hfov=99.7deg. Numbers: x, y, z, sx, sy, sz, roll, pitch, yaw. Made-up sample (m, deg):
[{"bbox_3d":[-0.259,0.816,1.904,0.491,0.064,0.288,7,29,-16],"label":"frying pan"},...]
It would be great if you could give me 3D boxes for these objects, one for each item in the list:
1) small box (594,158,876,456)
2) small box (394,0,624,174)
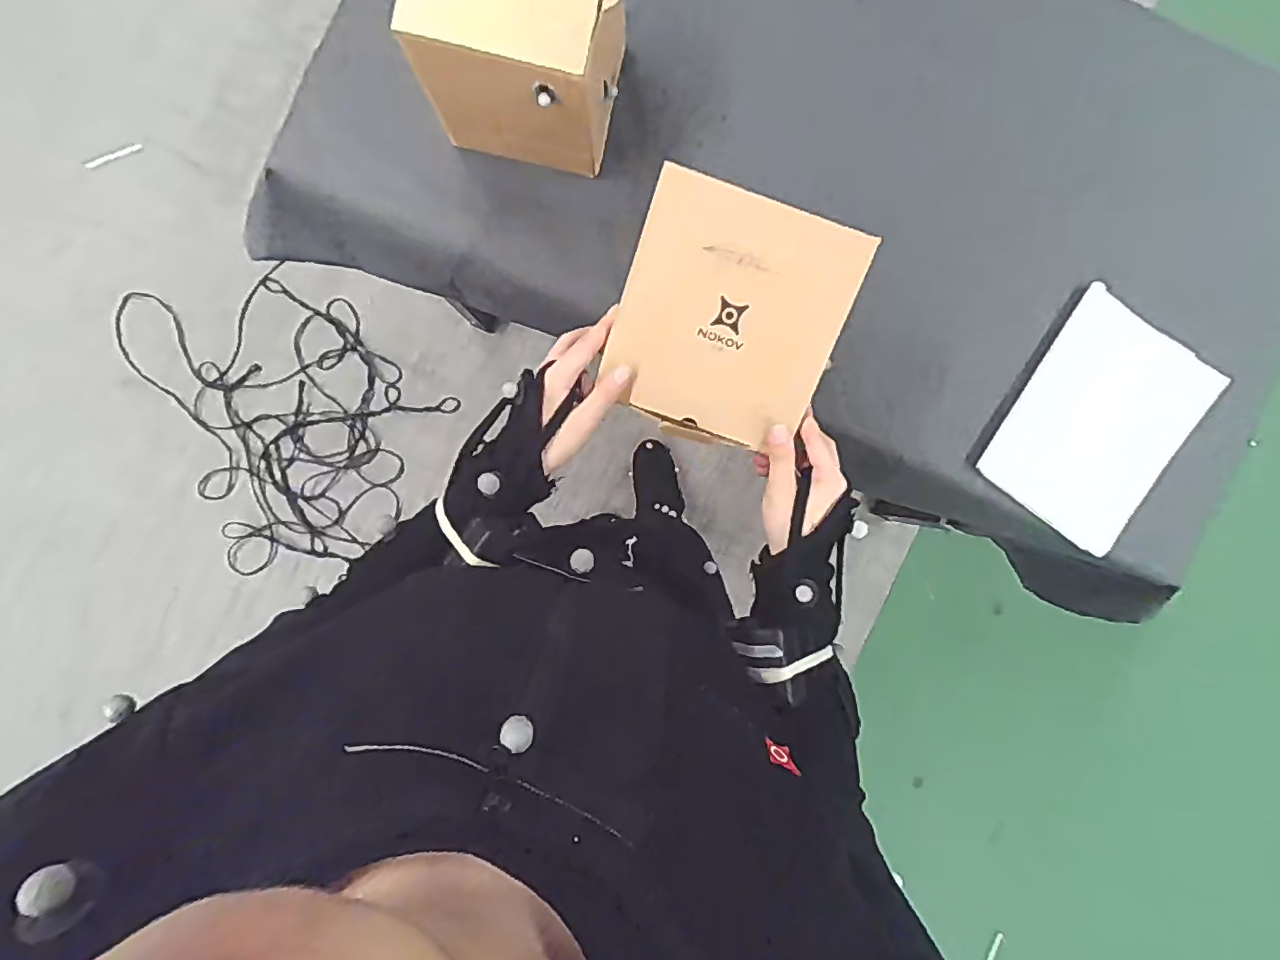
[{"bbox_3d":[0.072,-0.143,0.481,0.168,0.176,0.179,19,105,-2],"label":"small box"},{"bbox_3d":[-0.117,-0.449,0.554,0.179,0.176,0.168,12,89,-3],"label":"small box"}]
